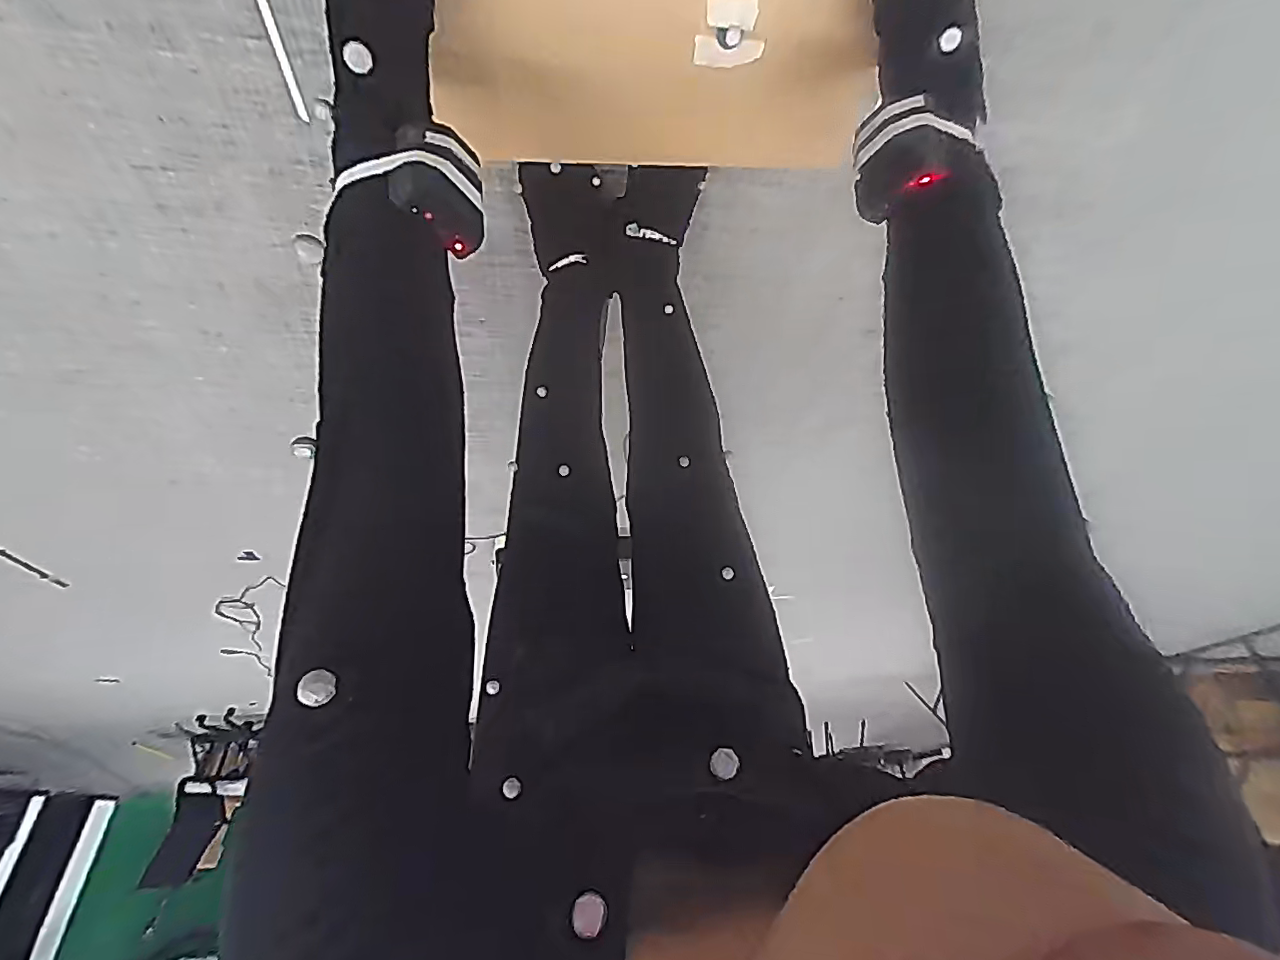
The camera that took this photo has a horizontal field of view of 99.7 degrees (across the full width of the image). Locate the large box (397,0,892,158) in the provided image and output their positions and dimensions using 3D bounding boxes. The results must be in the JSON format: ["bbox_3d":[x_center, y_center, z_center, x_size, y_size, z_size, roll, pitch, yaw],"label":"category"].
[{"bbox_3d":[-0.003,-0.524,0.479,0.408,0.320,0.320,-2,149,-5],"label":"large box"}]
